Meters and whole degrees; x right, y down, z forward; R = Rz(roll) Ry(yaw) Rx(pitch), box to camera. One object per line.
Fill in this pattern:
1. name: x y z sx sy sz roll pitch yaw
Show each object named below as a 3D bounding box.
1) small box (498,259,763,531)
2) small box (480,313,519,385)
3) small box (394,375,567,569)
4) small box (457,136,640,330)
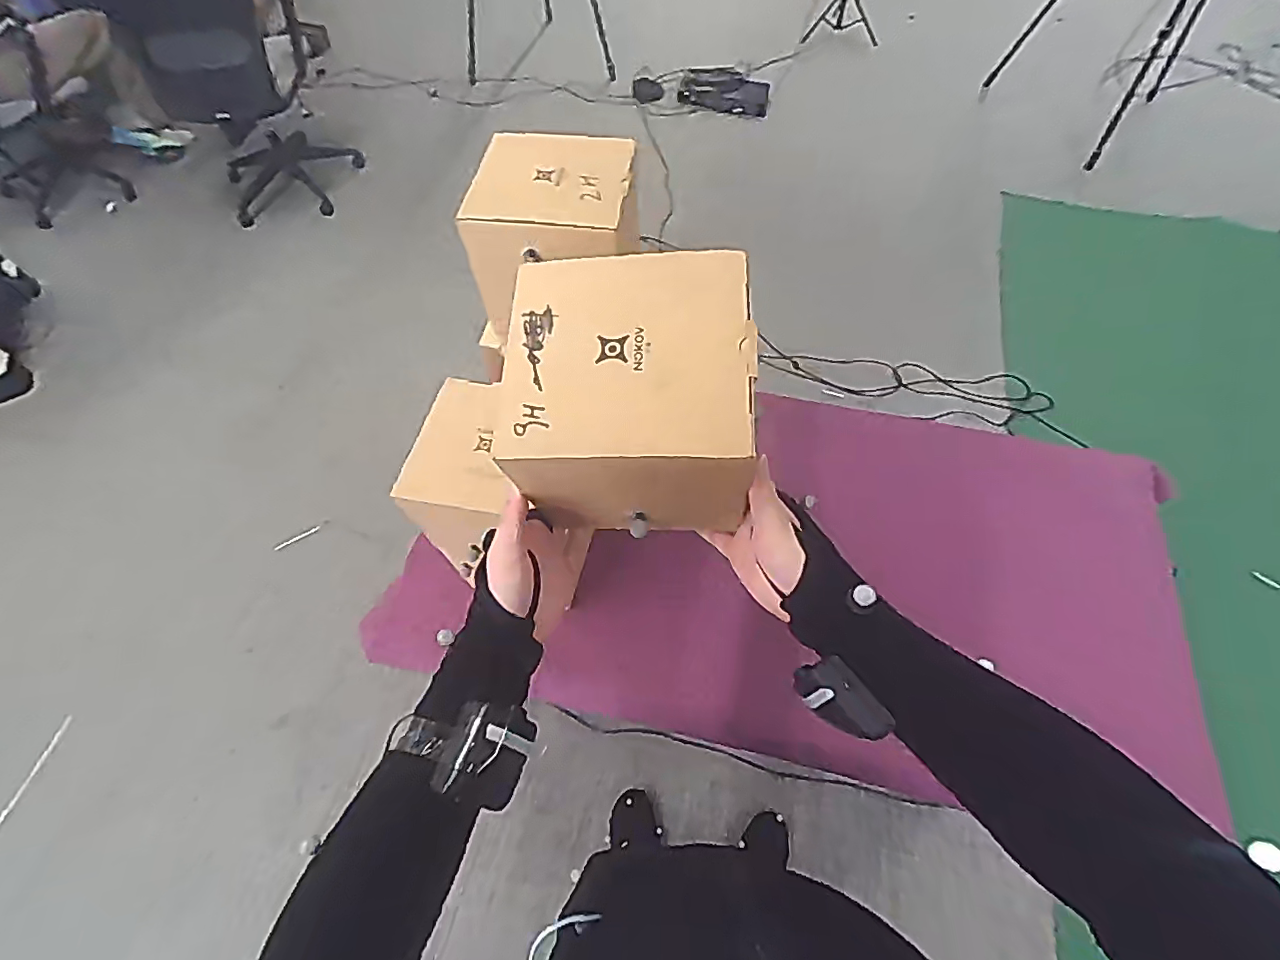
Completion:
1. small box: 0.003 -0.059 0.452 0.179 0.176 0.168 1 69 7
2. small box: -0.113 -0.196 0.808 0.168 0.176 0.179 9 61 6
3. small box: -0.179 -0.005 0.701 0.168 0.176 0.179 9 61 6
4. small box: -0.098 -0.296 0.675 0.179 0.176 0.168 6 61 4
